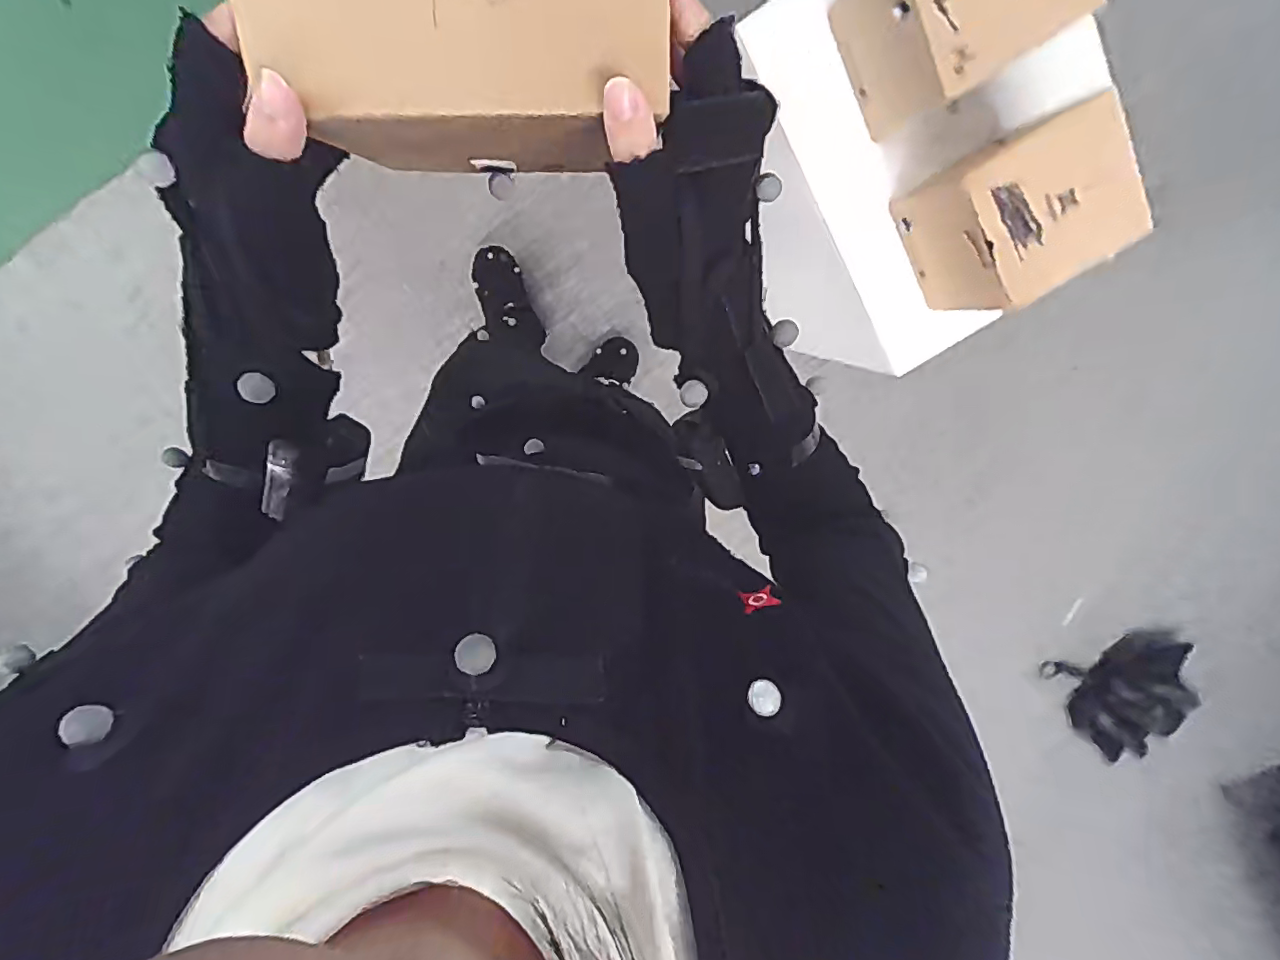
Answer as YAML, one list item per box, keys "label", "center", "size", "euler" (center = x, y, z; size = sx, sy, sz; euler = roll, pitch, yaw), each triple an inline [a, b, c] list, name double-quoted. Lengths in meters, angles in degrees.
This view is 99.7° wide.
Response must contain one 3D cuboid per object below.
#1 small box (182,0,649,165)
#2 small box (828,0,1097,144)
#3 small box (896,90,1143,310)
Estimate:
- label: "small box"
  center: [-0.084, -0.258, 0.245]
  size: [0.168, 0.176, 0.179]
  euler: [-2, 112, -3]
- label: "small box"
  center: [0.346, -0.522, 0.608]
  size: [0.179, 0.176, 0.168]
  euler: [-29, 106, 5]
- label: "small box"
  center: [0.451, -0.325, 0.675]
  size: [0.179, 0.176, 0.168]
  euler: [-30, 106, 5]
